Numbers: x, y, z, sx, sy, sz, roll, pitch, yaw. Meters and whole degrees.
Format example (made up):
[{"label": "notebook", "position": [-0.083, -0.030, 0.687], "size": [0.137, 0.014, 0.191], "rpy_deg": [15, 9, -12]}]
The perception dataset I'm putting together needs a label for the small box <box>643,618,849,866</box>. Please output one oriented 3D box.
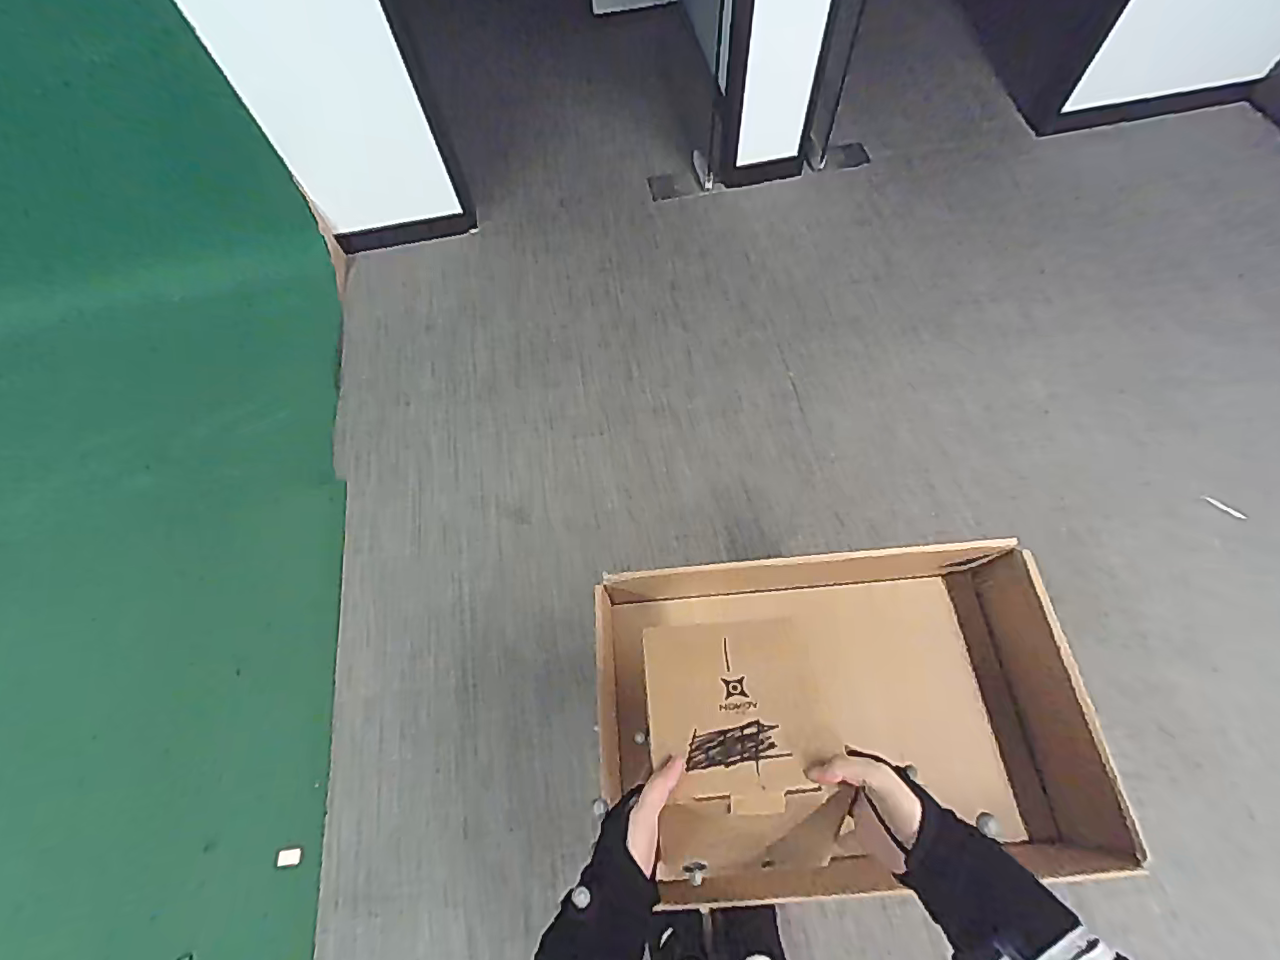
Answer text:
[{"label": "small box", "position": [0.092, 0.268, 0.554], "size": [0.168, 0.176, 0.179], "rpy_deg": [-4, 36, -1]}]
